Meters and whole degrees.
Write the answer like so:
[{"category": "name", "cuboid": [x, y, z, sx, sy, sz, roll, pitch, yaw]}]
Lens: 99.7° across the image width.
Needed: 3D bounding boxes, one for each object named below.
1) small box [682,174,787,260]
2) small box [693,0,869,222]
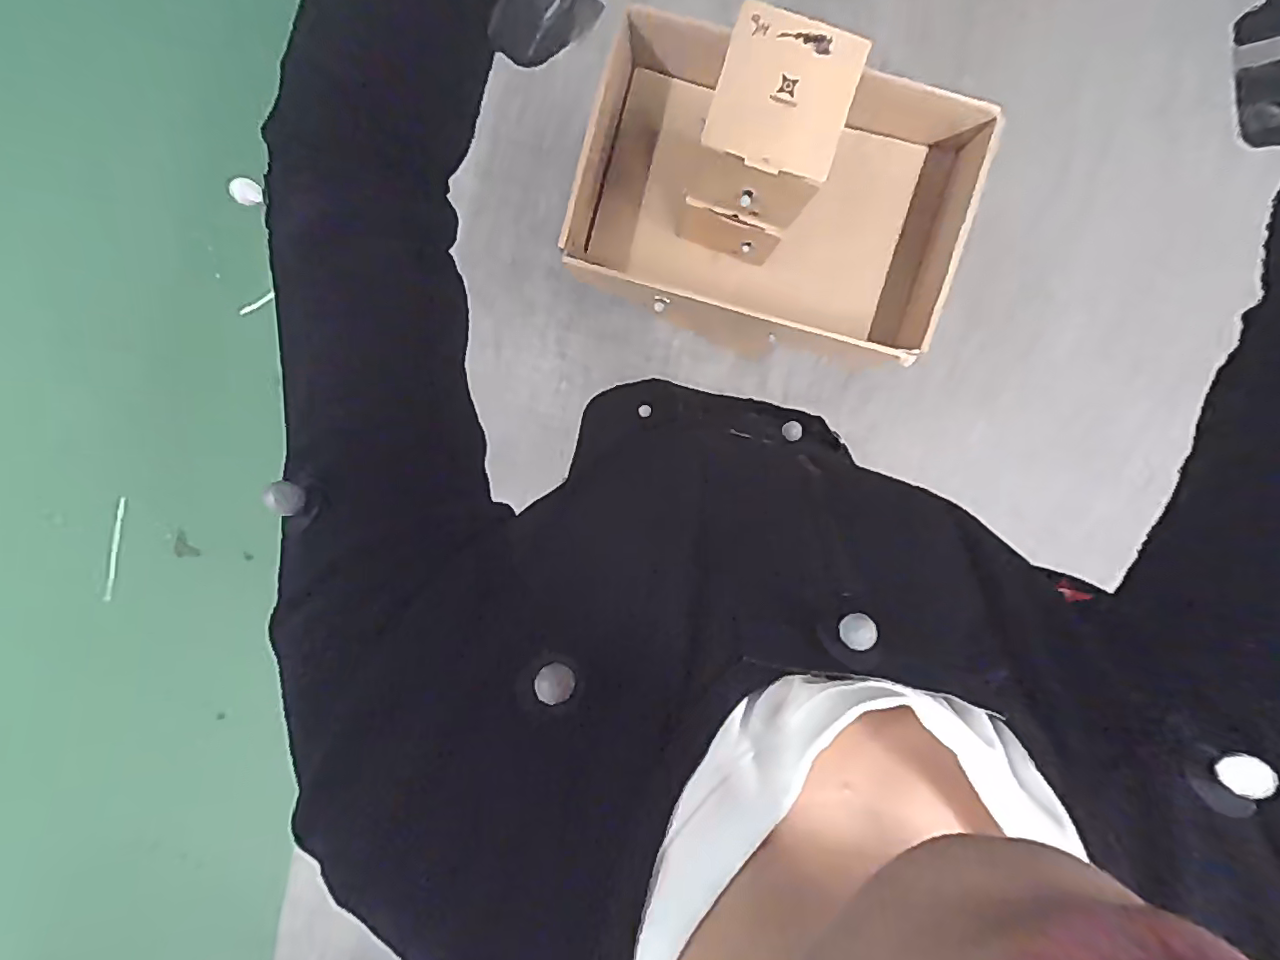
[{"category": "small box", "cuboid": [0.173, -0.494, 0.905, 0.168, 0.176, 0.179, 18, 95, -2]}, {"category": "small box", "cuboid": [0.176, -0.484, 0.741, 0.168, 0.176, 0.179, 17, 98, -2]}]
